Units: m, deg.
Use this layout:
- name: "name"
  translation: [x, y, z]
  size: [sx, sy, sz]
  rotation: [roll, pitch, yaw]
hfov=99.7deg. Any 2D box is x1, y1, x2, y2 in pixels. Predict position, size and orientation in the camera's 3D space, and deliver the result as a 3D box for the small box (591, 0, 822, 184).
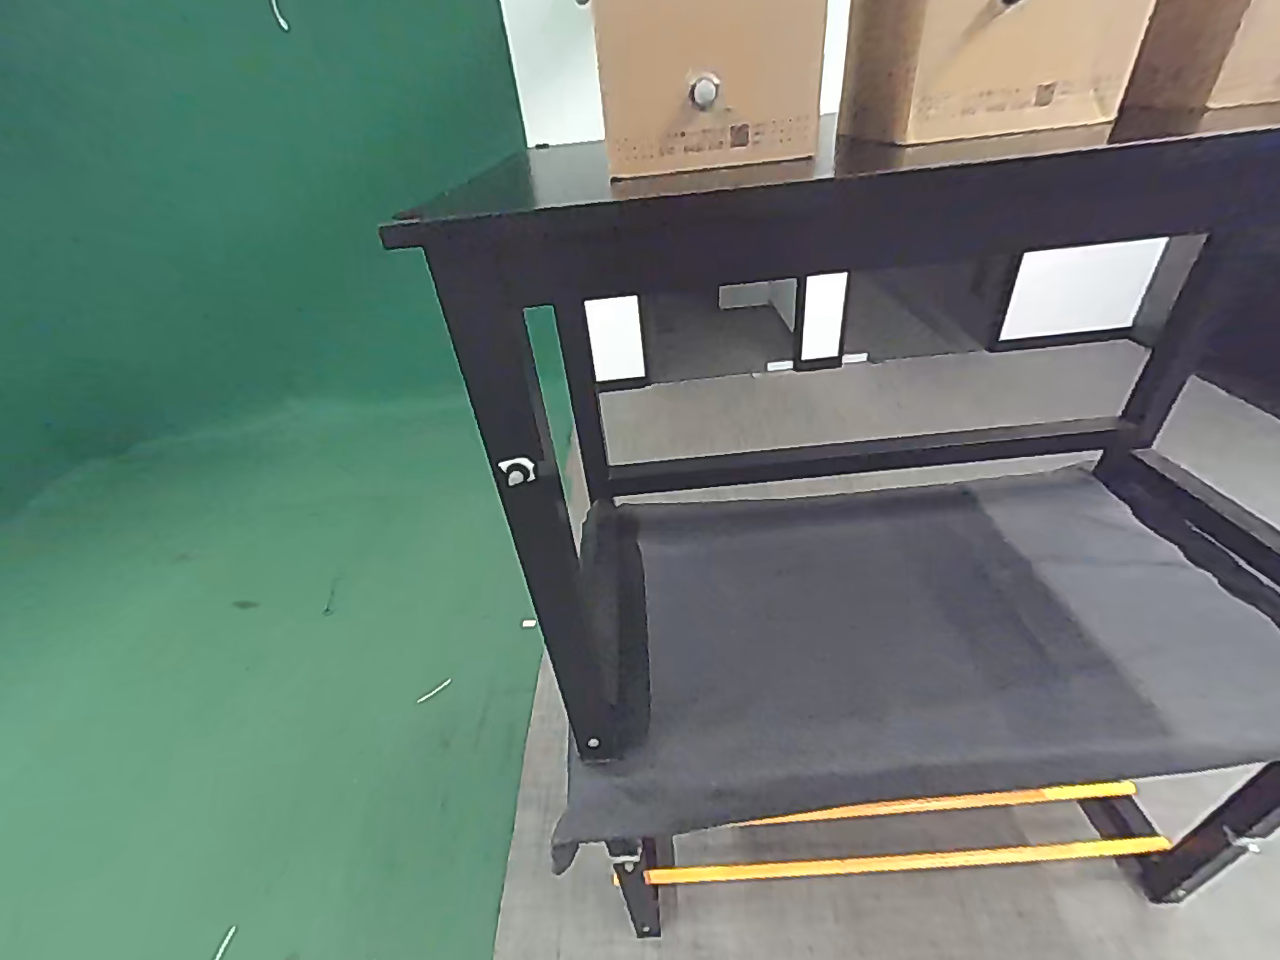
- name: "small box"
  translation: [0.046, -0.361, 0.464]
  size: [0.168, 0.176, 0.179]
  rotation: [-6, 36, 1]
